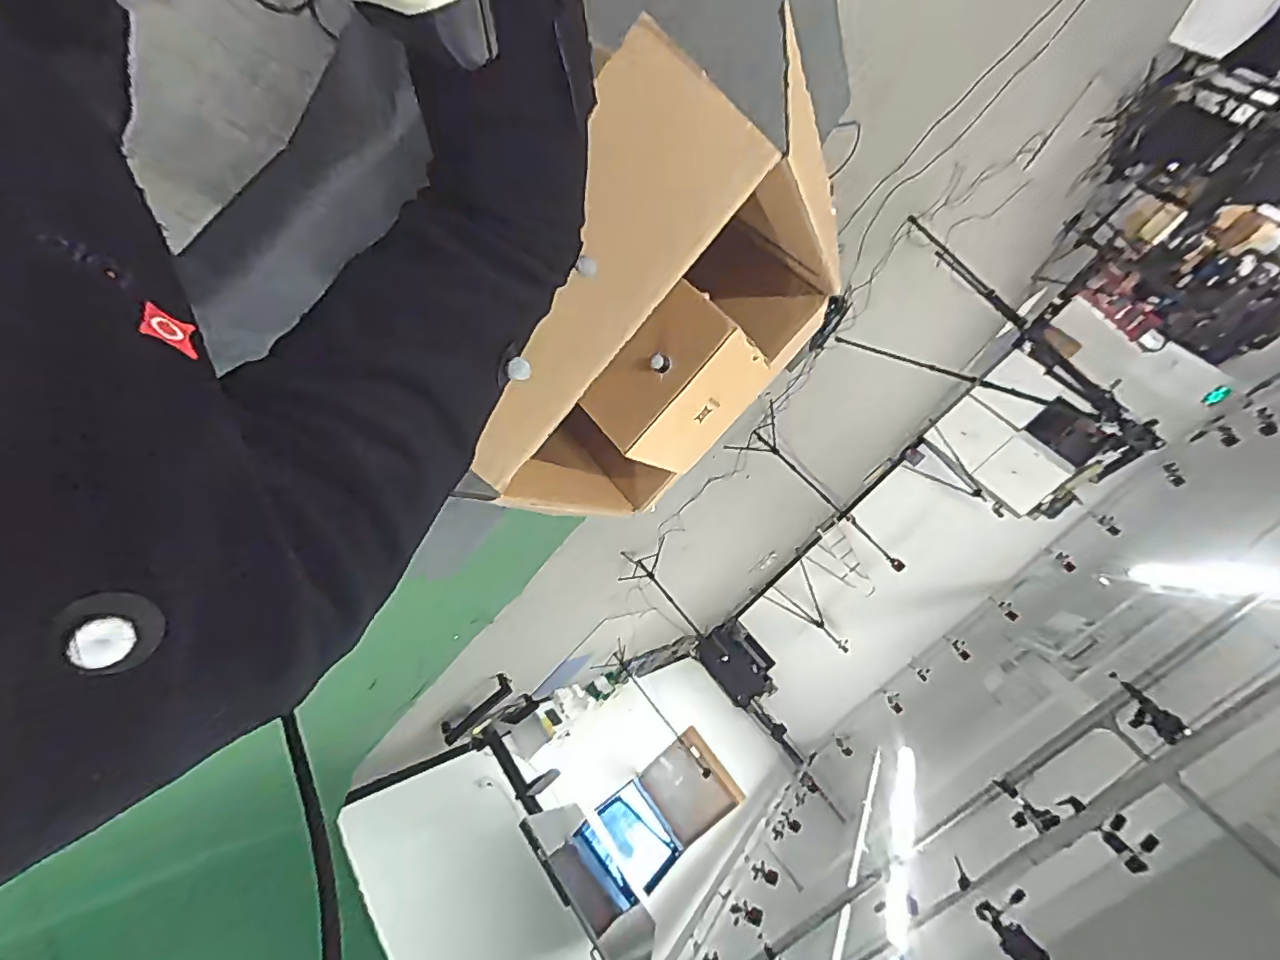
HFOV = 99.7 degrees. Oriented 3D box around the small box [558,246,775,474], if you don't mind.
[{"bbox_3d":[0.026,-0.135,0.648,0.179,0.176,0.168,-47,156,14],"label":"small box"}]
